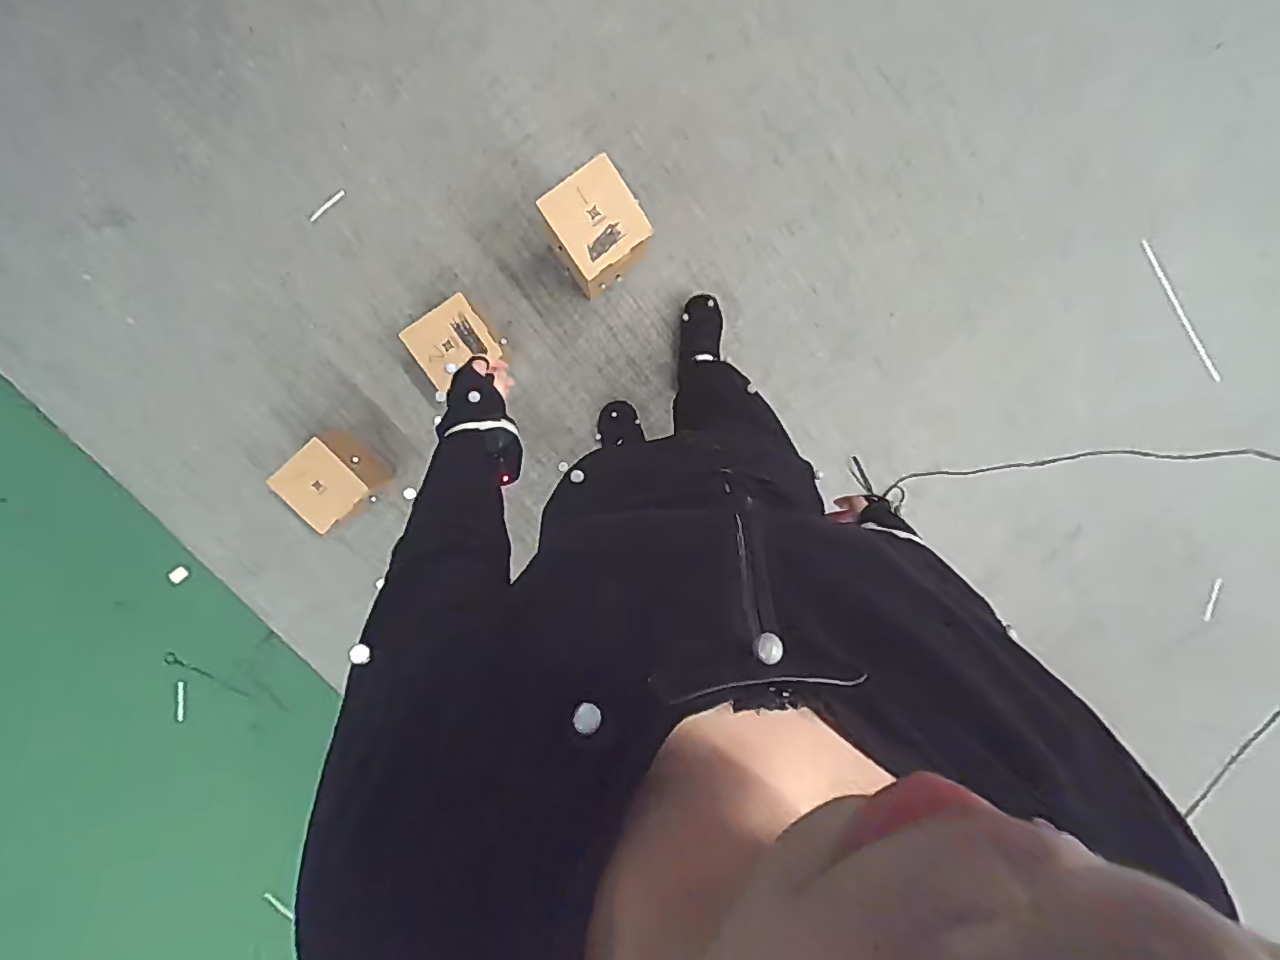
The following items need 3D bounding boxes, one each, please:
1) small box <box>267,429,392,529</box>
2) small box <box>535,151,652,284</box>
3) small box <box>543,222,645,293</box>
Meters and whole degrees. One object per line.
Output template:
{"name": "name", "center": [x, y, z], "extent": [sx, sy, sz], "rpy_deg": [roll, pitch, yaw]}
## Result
{"name": "small box", "center": [-0.759, -0.012, 1.344], "extent": [0.168, 0.176, 0.179], "rpy_deg": [-40, 101, 3]}
{"name": "small box", "center": [-0.092, -0.527, 1.122], "extent": [0.168, 0.176, 0.179], "rpy_deg": [-35, 101, 3]}
{"name": "small box", "center": [-0.106, -0.564, 1.282], "extent": [0.168, 0.176, 0.179], "rpy_deg": [-36, 102, 3]}
